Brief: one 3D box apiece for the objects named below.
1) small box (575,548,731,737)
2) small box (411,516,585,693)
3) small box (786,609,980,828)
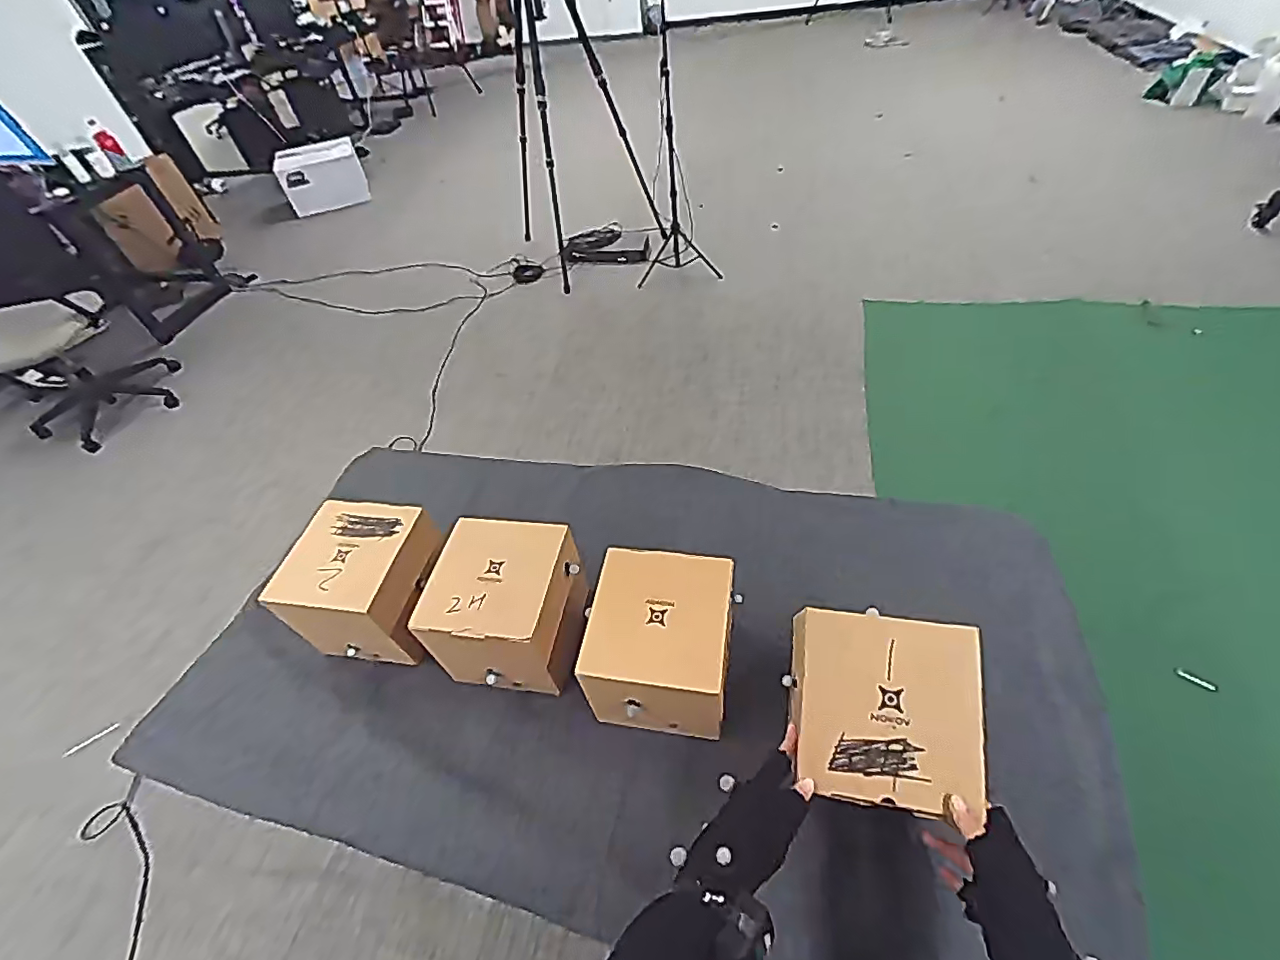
[{"bbox_3d":[0.030,0.213,0.703,0.168,0.176,0.179,4,48,12],"label":"small box"},{"bbox_3d":[-0.183,0.174,0.765,0.168,0.176,0.179,4,49,11],"label":"small box"},{"bbox_3d":[0.255,0.246,0.599,0.168,0.176,0.179,5,74,12],"label":"small box"}]
